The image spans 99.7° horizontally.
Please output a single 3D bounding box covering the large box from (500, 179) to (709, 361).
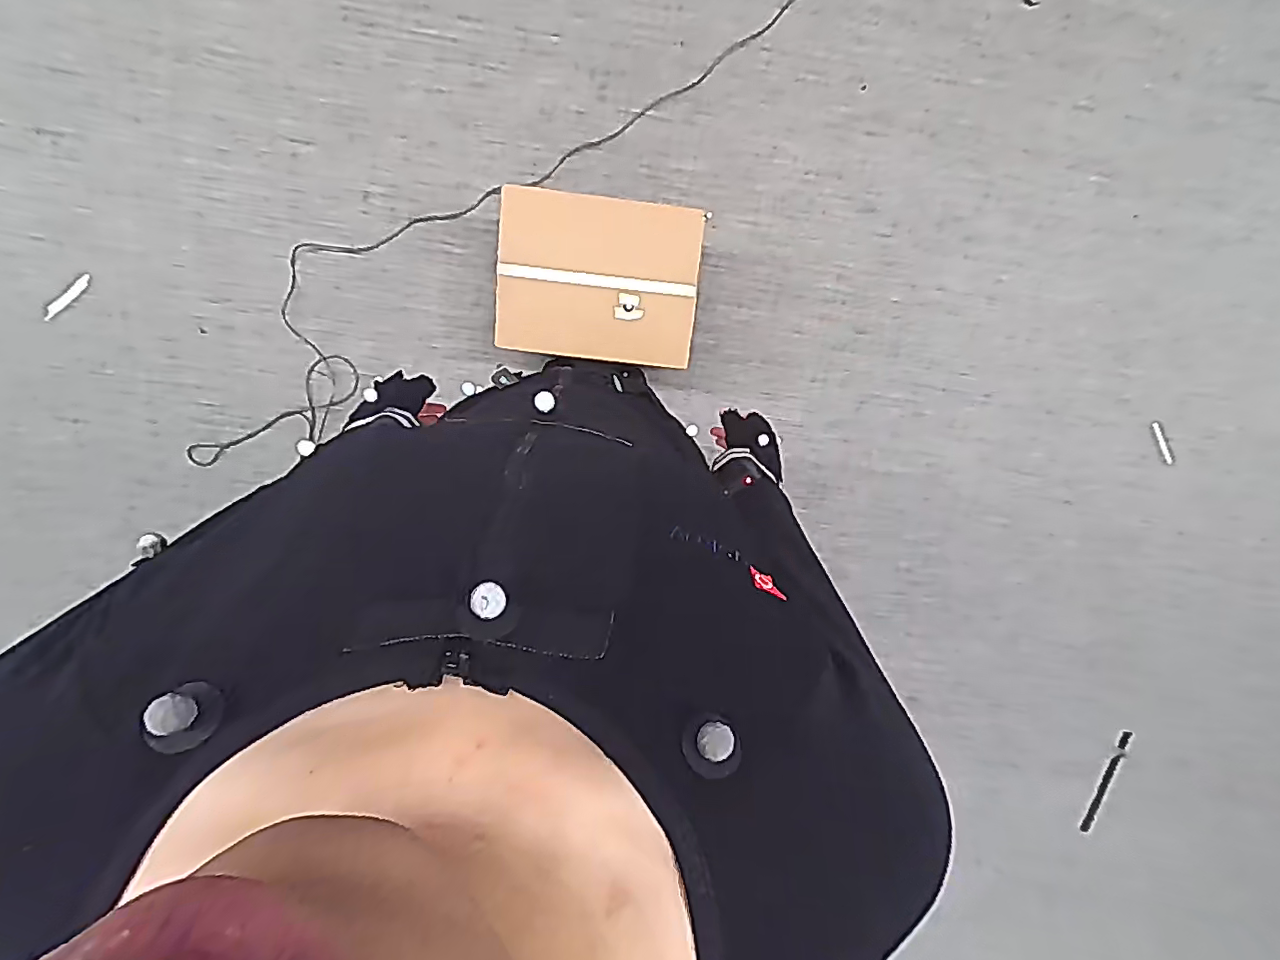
[{"bbox_3d":[-0.083,-0.446,1.222,0.408,0.320,0.320,6,104,-4],"label":"large box"}]
